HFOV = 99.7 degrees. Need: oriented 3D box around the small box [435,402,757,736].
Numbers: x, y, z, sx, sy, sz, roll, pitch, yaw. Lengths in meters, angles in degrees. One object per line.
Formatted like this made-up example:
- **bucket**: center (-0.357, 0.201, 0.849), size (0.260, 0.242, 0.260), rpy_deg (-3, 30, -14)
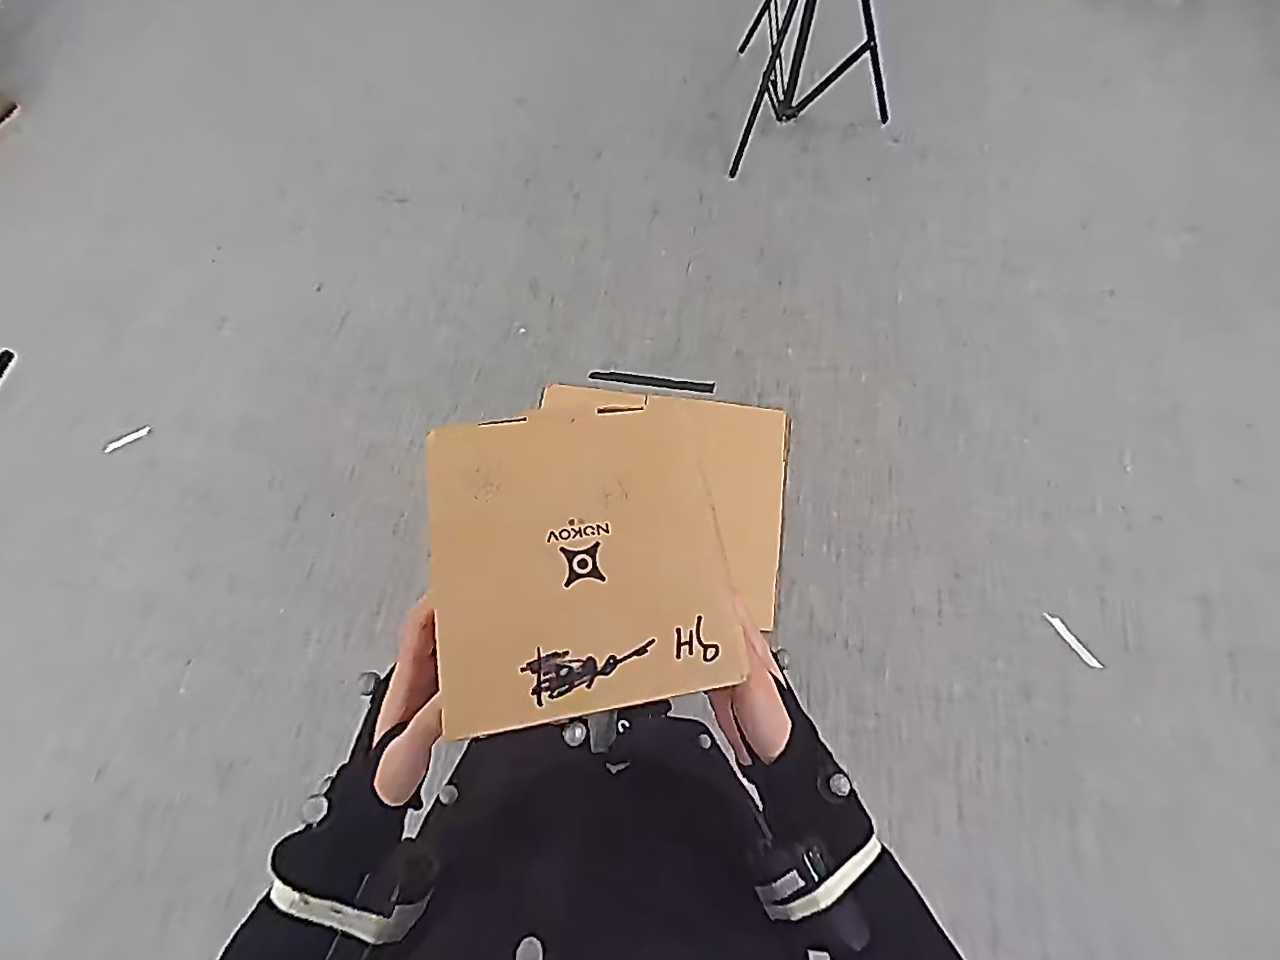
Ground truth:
- **small box**: center (-0.038, 0.068, 0.381), size (0.168, 0.176, 0.179), rpy_deg (-8, 70, -9)
